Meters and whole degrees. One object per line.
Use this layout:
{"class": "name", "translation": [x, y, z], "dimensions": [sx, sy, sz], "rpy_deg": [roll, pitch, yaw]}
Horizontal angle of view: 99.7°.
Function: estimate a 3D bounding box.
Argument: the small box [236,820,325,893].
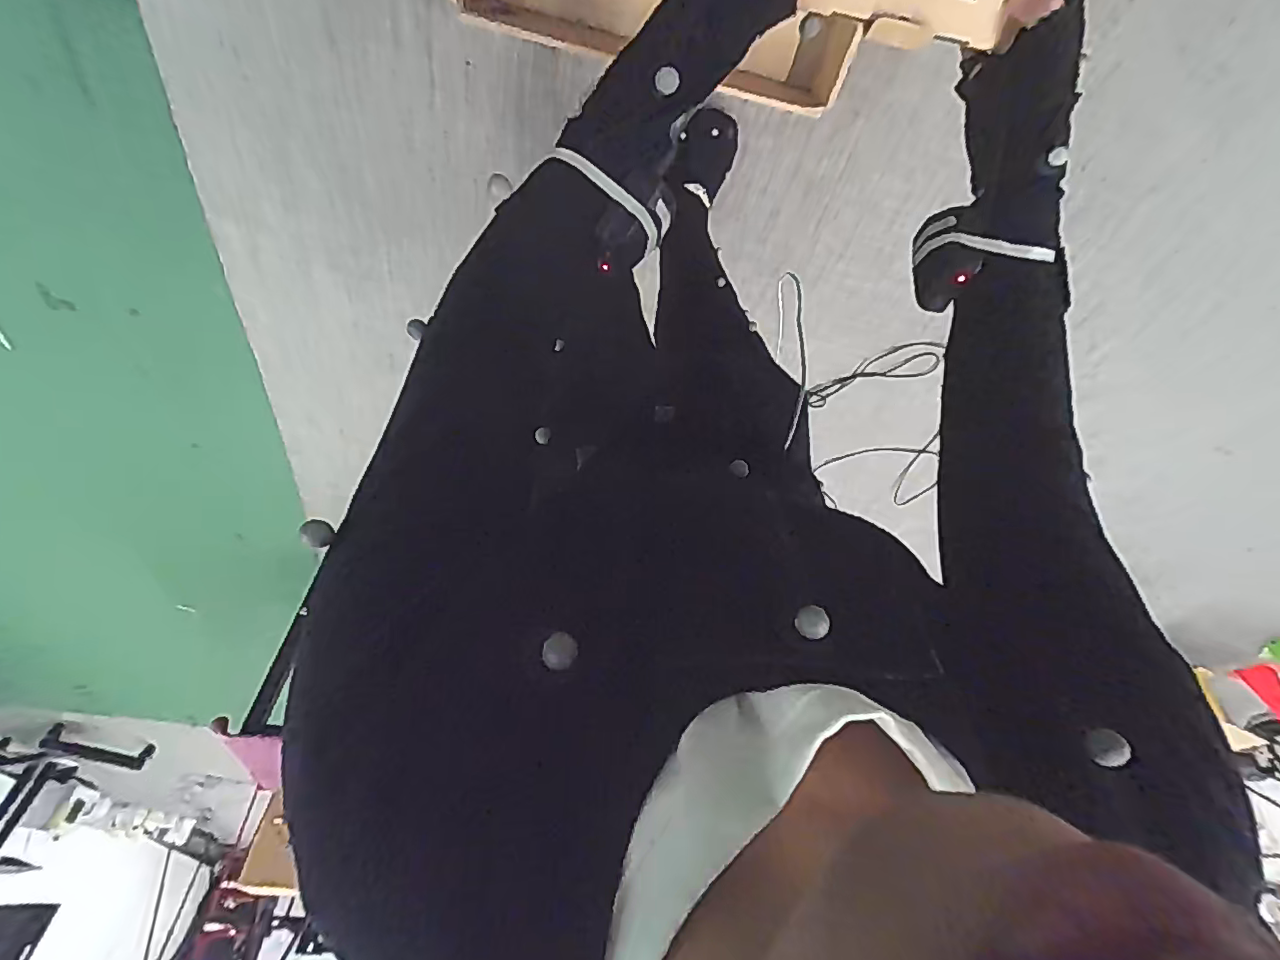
{"class": "small box", "translation": [-1.135, 1.202, 1.725], "dimensions": [0.168, 0.176, 0.179], "rpy_deg": [9, 136, -9]}
